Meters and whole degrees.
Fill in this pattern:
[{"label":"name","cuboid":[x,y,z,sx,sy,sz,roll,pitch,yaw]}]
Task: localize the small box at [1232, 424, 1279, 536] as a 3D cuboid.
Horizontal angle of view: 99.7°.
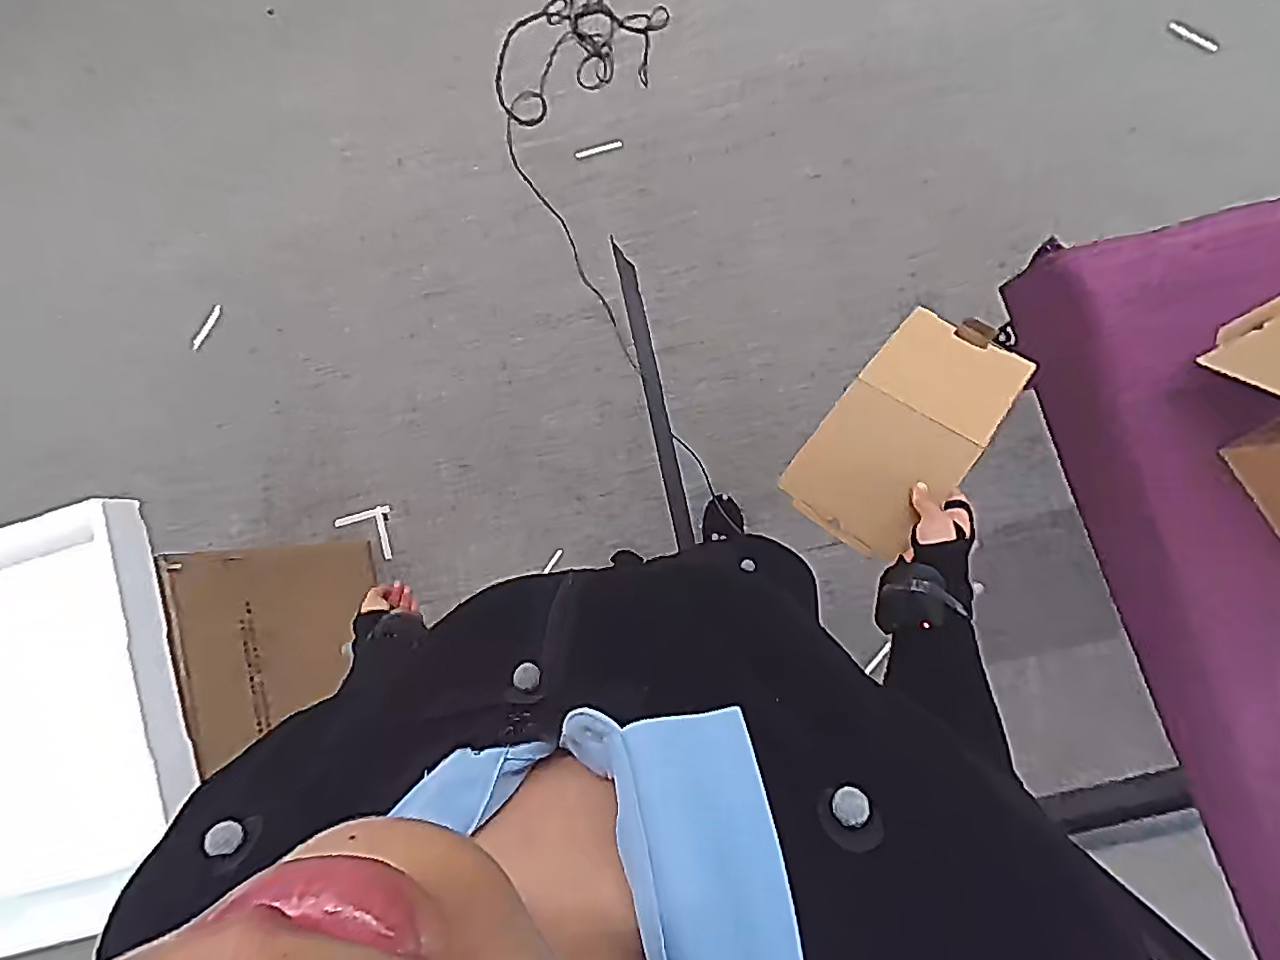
[{"label":"small box","cuboid":[0.848,-0.008,0.600,0.168,0.176,0.179,-29,85,4]}]
